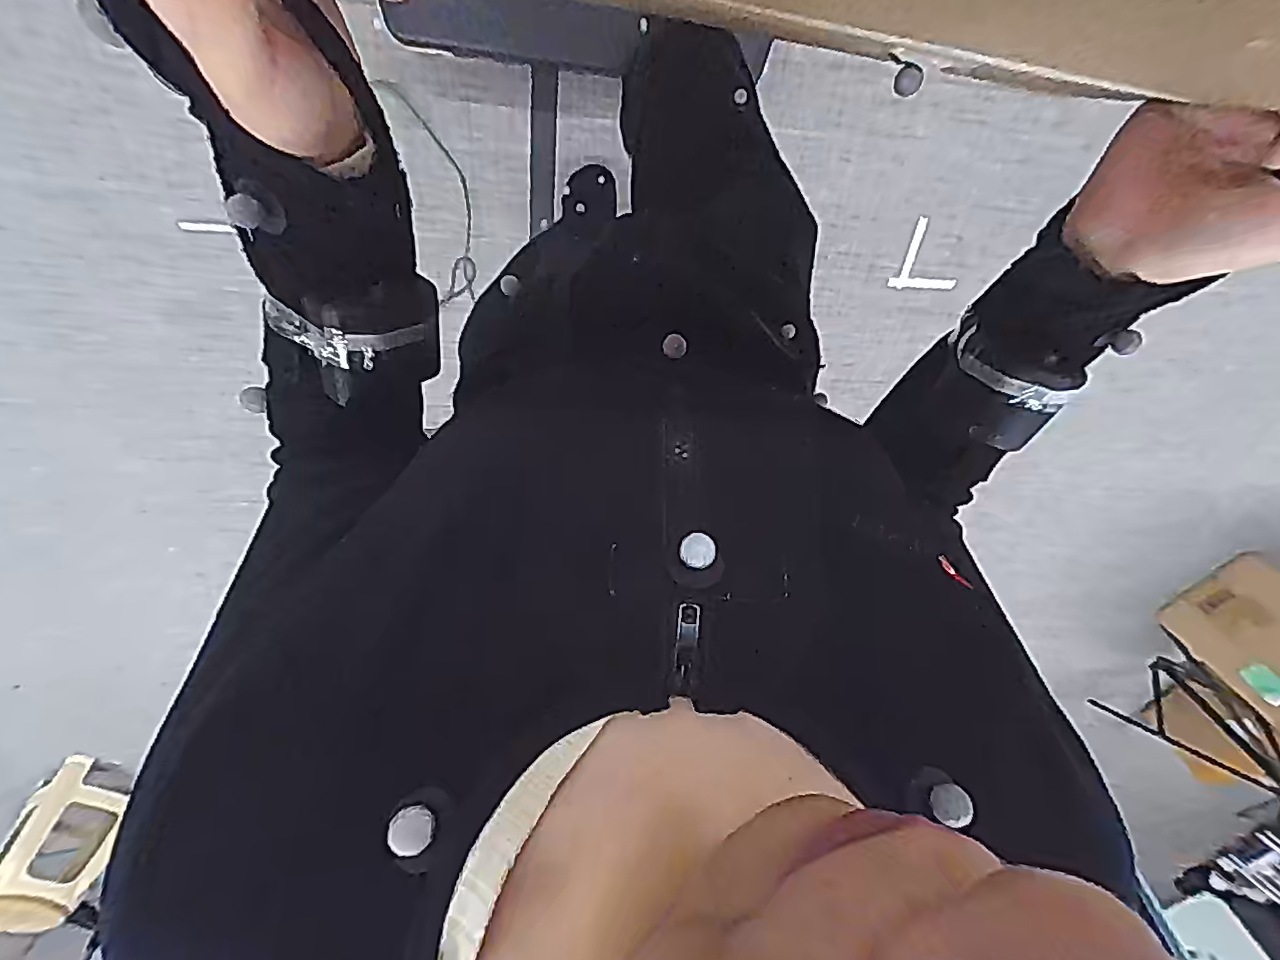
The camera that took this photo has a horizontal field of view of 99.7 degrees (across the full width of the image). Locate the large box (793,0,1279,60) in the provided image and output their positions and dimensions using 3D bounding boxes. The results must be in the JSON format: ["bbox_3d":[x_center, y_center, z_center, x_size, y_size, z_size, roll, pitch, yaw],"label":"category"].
[{"bbox_3d":[0.089,-0.309,0.100,0.408,0.320,0.320,3,129,-8],"label":"large box"}]
